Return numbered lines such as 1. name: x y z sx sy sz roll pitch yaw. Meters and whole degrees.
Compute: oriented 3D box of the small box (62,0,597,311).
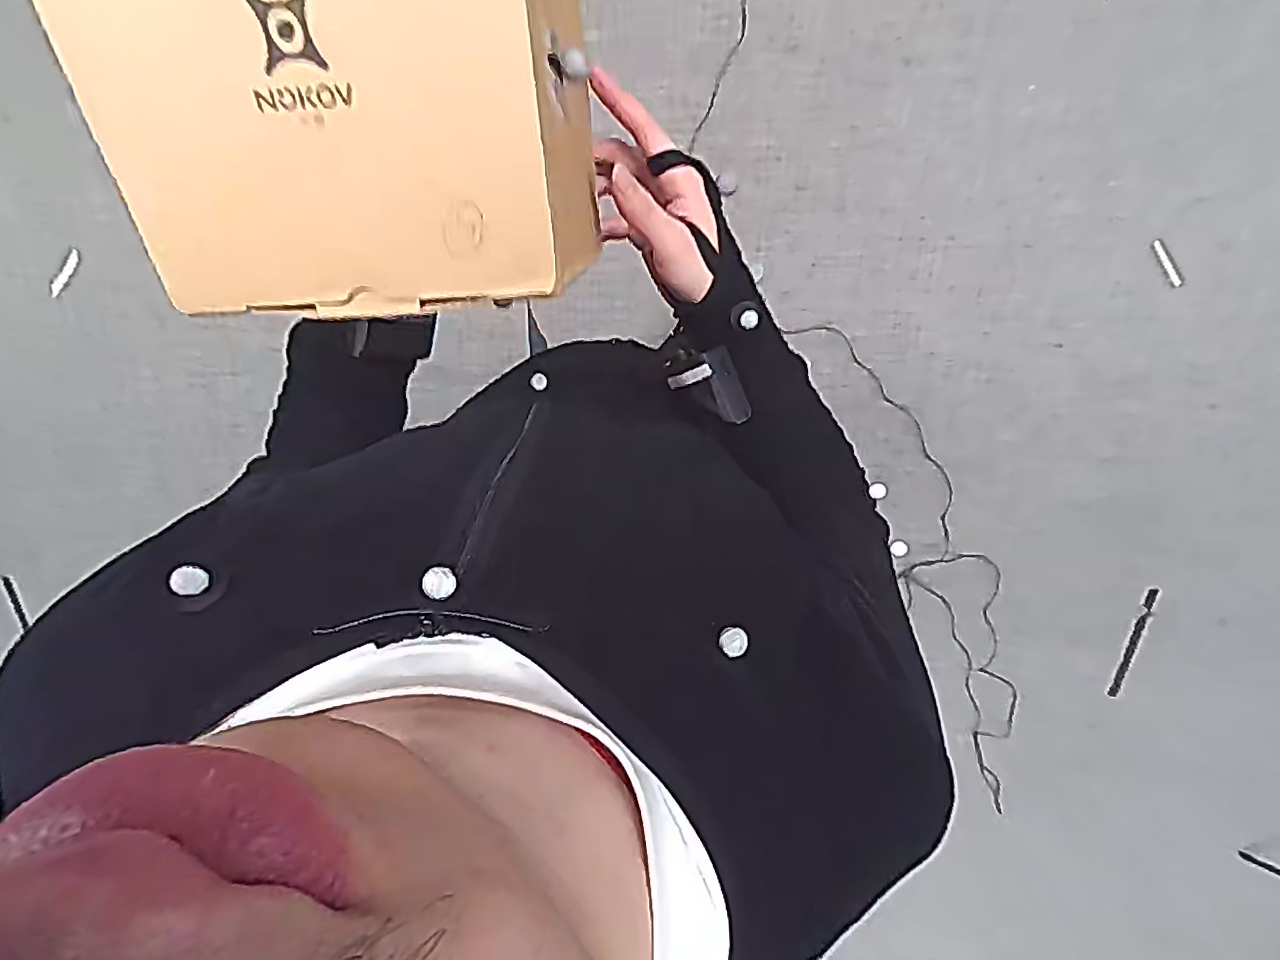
1. small box: -0.116 -0.192 0.265 0.168 0.176 0.179 -3 118 3
